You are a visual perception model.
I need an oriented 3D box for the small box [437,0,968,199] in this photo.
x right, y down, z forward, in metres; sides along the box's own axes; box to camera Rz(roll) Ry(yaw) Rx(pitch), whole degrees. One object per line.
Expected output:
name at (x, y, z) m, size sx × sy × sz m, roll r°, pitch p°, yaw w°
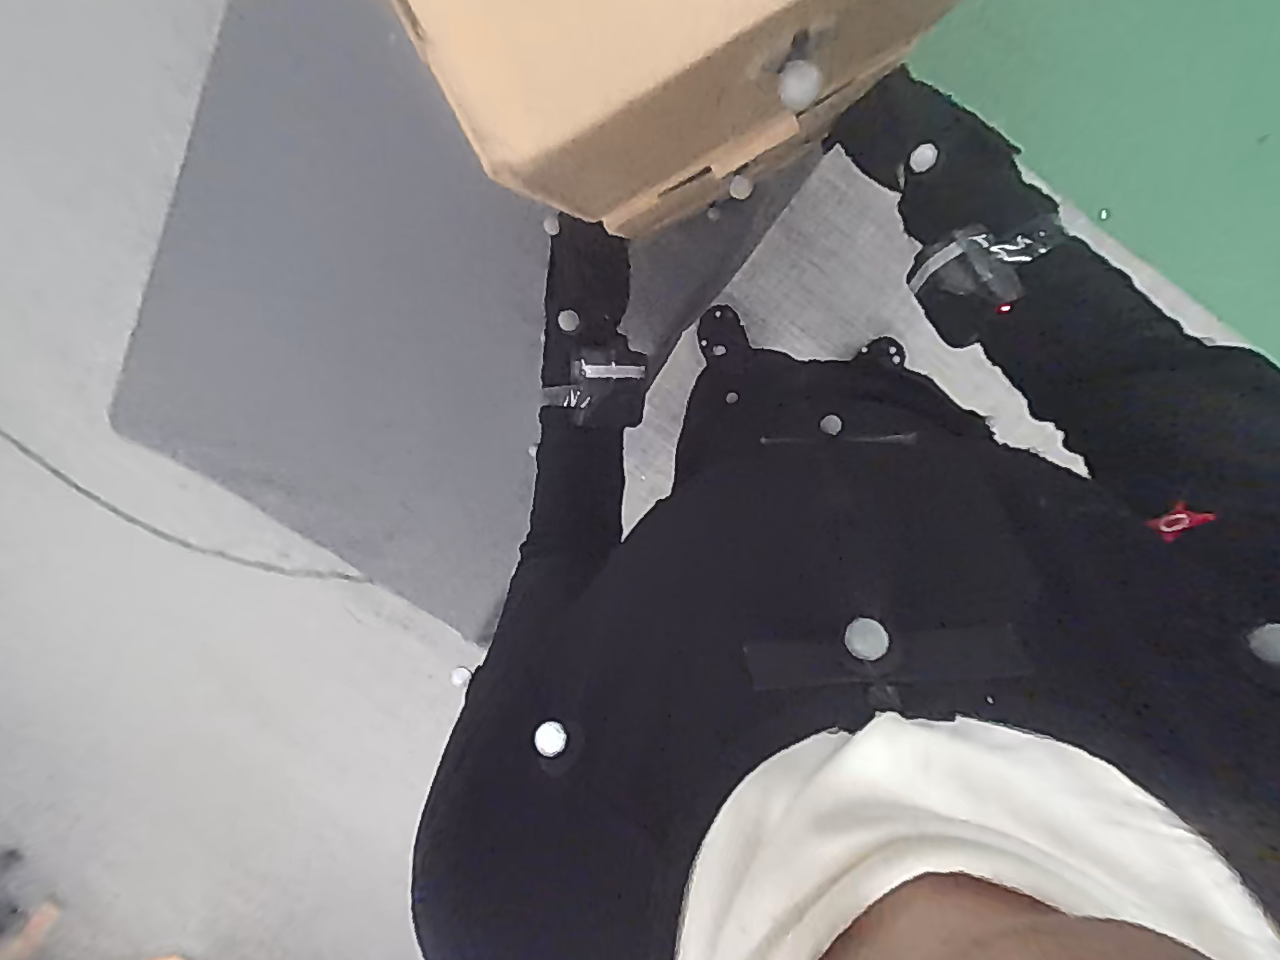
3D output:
small box at (0.020, -0.203, 0.155) m, size 0.179 × 0.176 × 0.168 m, roll -23°, pitch 111°, yaw 12°

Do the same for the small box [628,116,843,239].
small box at (0.042, -0.324, 0.456) m, size 0.179 × 0.176 × 0.168 m, roll -23°, pitch 110°, yaw 13°

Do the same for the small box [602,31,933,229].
small box at (0.029, -0.266, 0.305) m, size 0.168 × 0.176 × 0.179 m, roll -24°, pitch 110°, yaw 13°
